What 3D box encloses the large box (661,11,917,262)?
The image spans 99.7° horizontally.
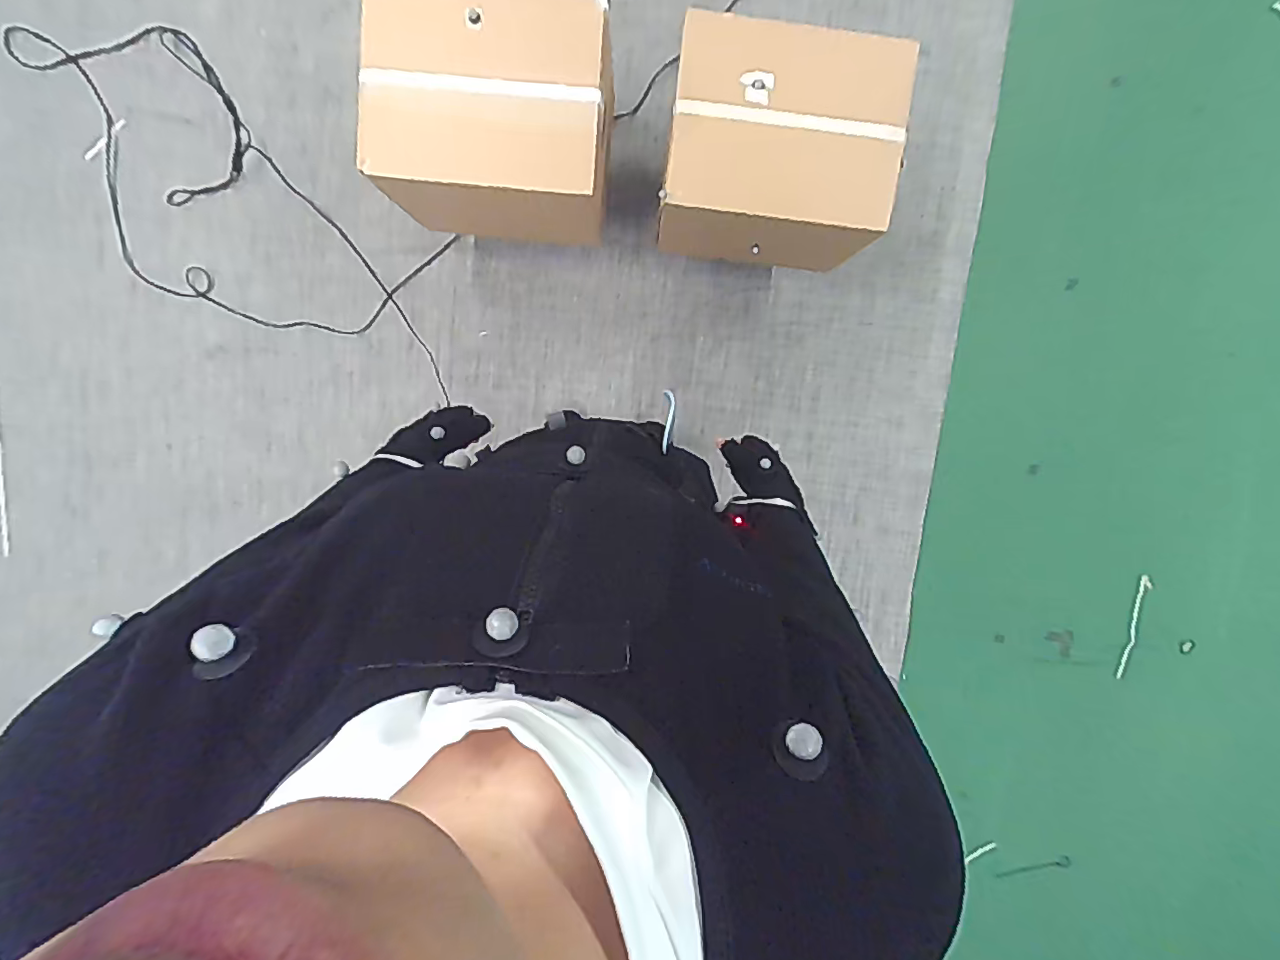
[{"bbox_3d":[0.264,-0.649,1.090,0.408,0.320,0.320,7,98,-1],"label":"large box"}]
